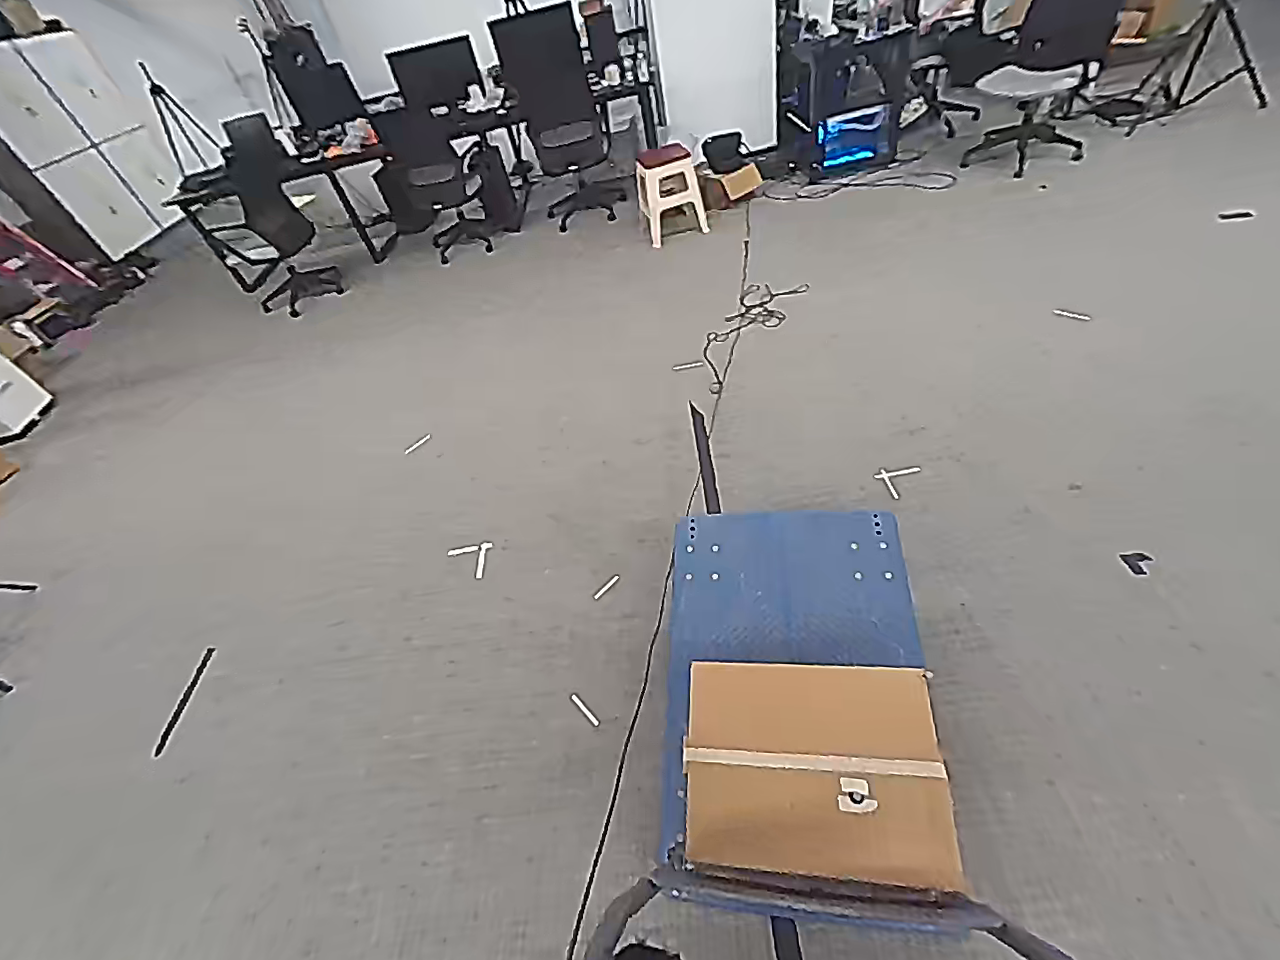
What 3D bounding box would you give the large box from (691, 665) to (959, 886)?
[{"bbox_3d":[0.312,0.552,1.026,0.408,0.320,0.320,-2,58,12],"label":"large box"}]
